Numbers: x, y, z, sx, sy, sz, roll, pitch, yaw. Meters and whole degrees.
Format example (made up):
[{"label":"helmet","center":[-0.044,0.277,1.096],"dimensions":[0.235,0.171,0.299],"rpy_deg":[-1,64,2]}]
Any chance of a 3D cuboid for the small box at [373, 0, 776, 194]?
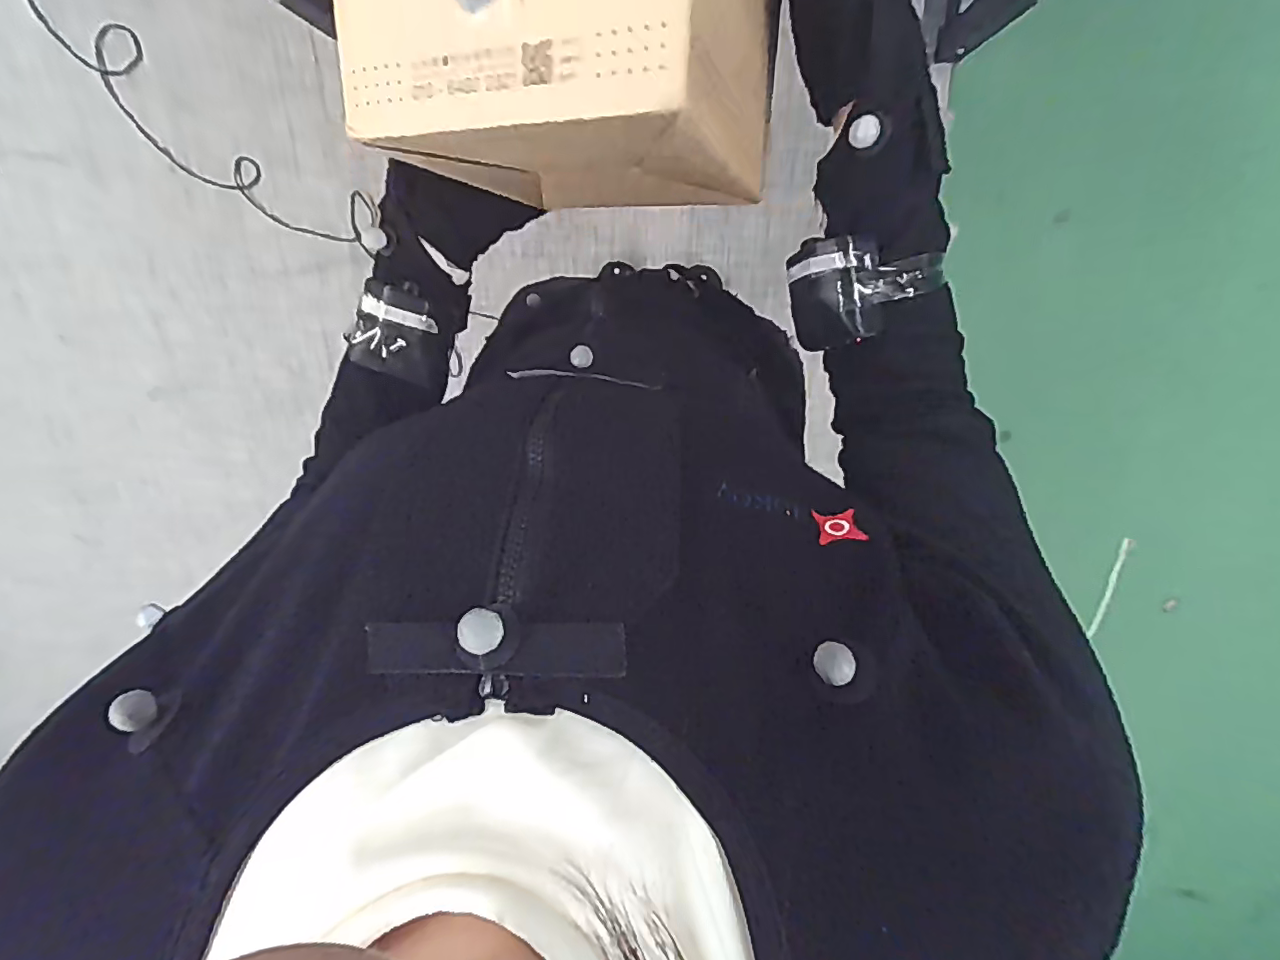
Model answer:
[{"label":"small box","center":[-0.023,-0.260,0.287],"dimensions":[0.168,0.179,0.176],"rpy_deg":[8,109,19]}]
